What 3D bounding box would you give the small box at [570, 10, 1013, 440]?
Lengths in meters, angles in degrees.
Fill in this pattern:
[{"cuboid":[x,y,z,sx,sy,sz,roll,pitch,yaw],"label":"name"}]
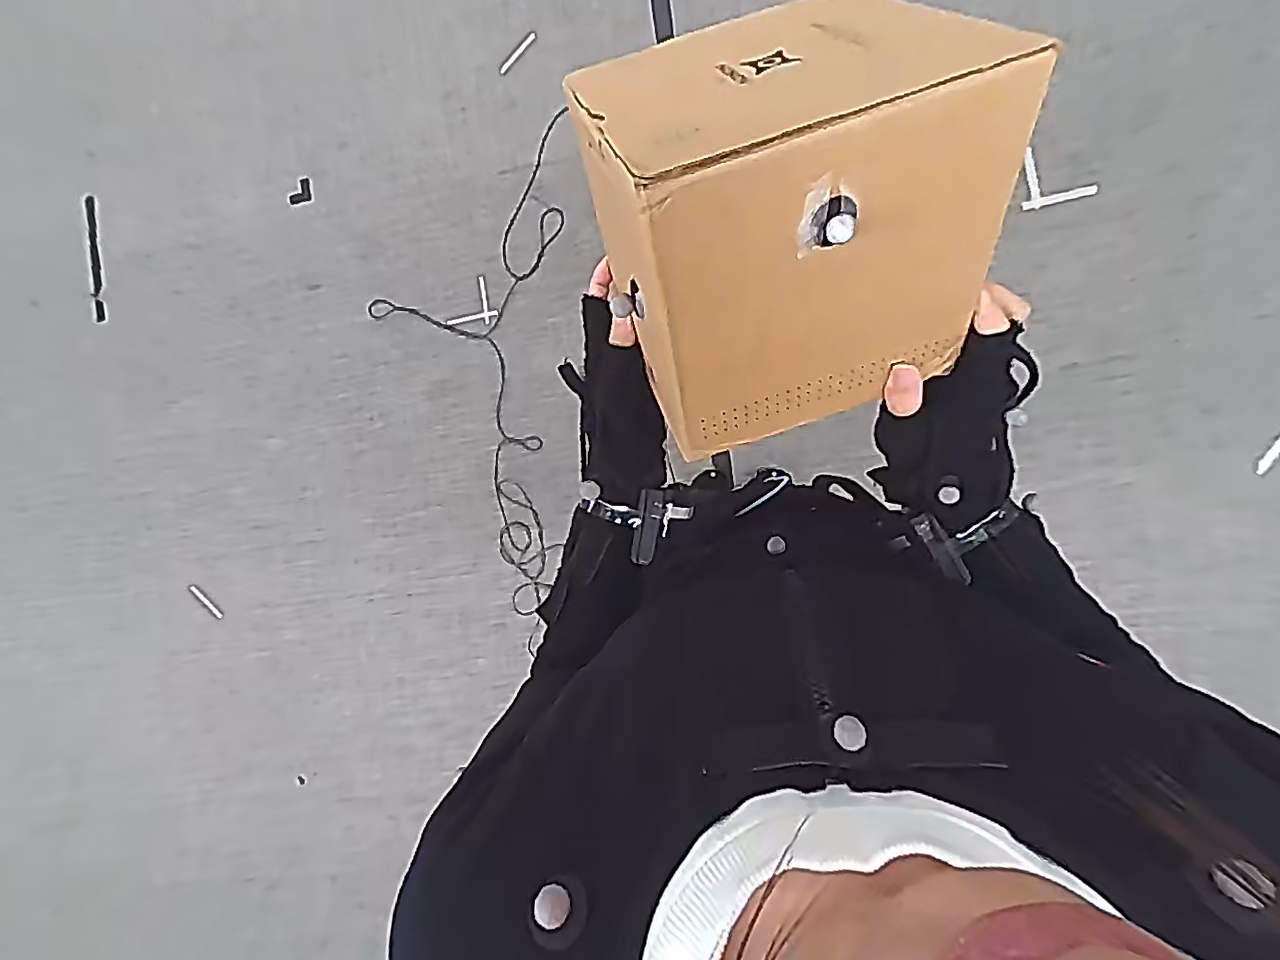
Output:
[{"cuboid":[0.074,-0.151,0.337,0.179,0.176,0.168,-18,50,-1],"label":"small box"}]
